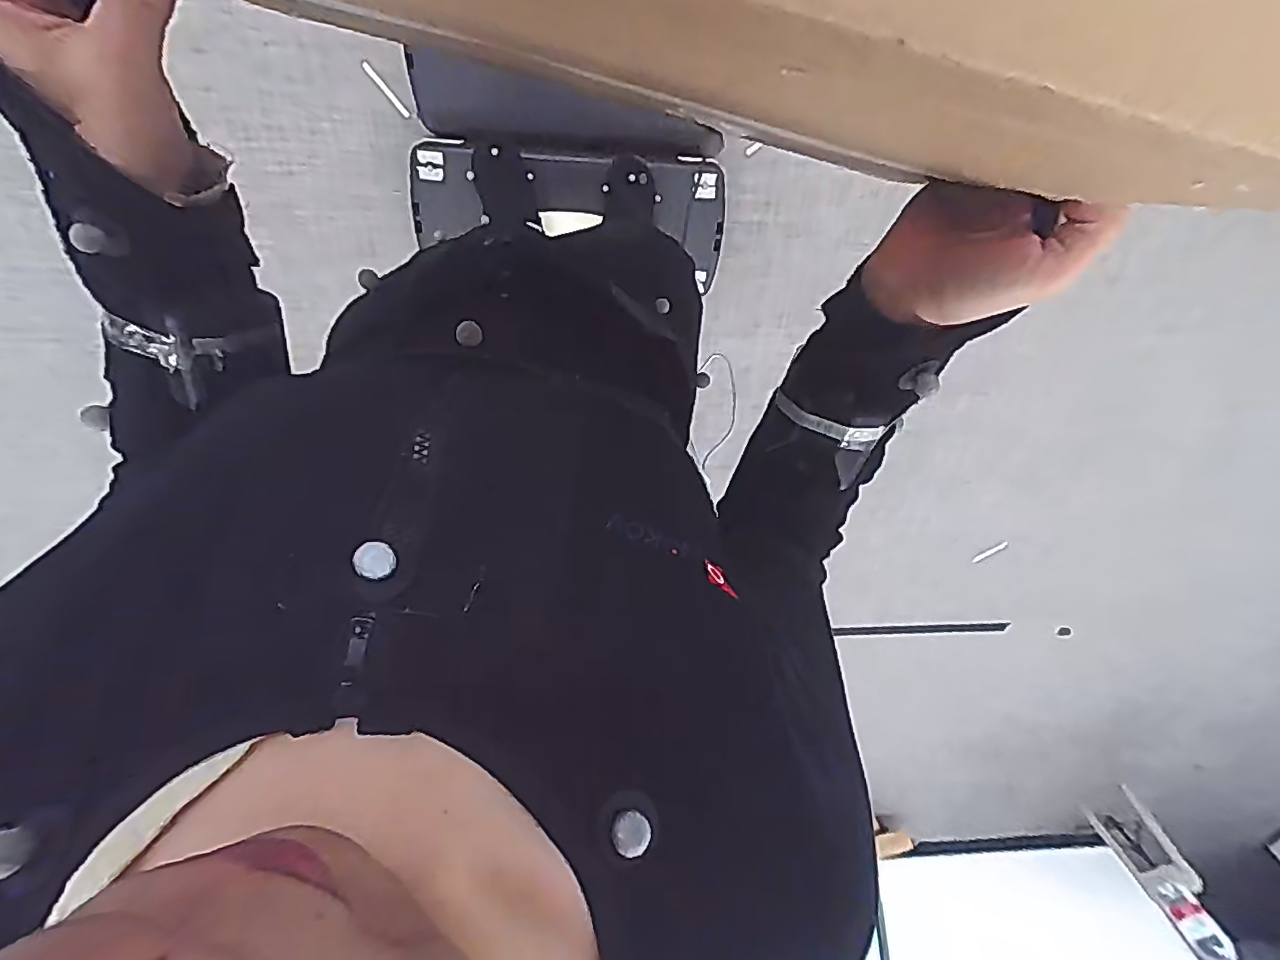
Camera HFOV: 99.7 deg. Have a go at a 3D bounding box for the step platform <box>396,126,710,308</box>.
[{"bbox_3d":[-0.185,-0.590,1.239,0.684,0.204,0.286,6,122,-7],"label":"step platform"}]

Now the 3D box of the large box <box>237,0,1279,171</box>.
[{"bbox_3d":[-0.005,-0.305,0.142,0.408,0.320,0.320,10,122,-5],"label":"large box"}]
